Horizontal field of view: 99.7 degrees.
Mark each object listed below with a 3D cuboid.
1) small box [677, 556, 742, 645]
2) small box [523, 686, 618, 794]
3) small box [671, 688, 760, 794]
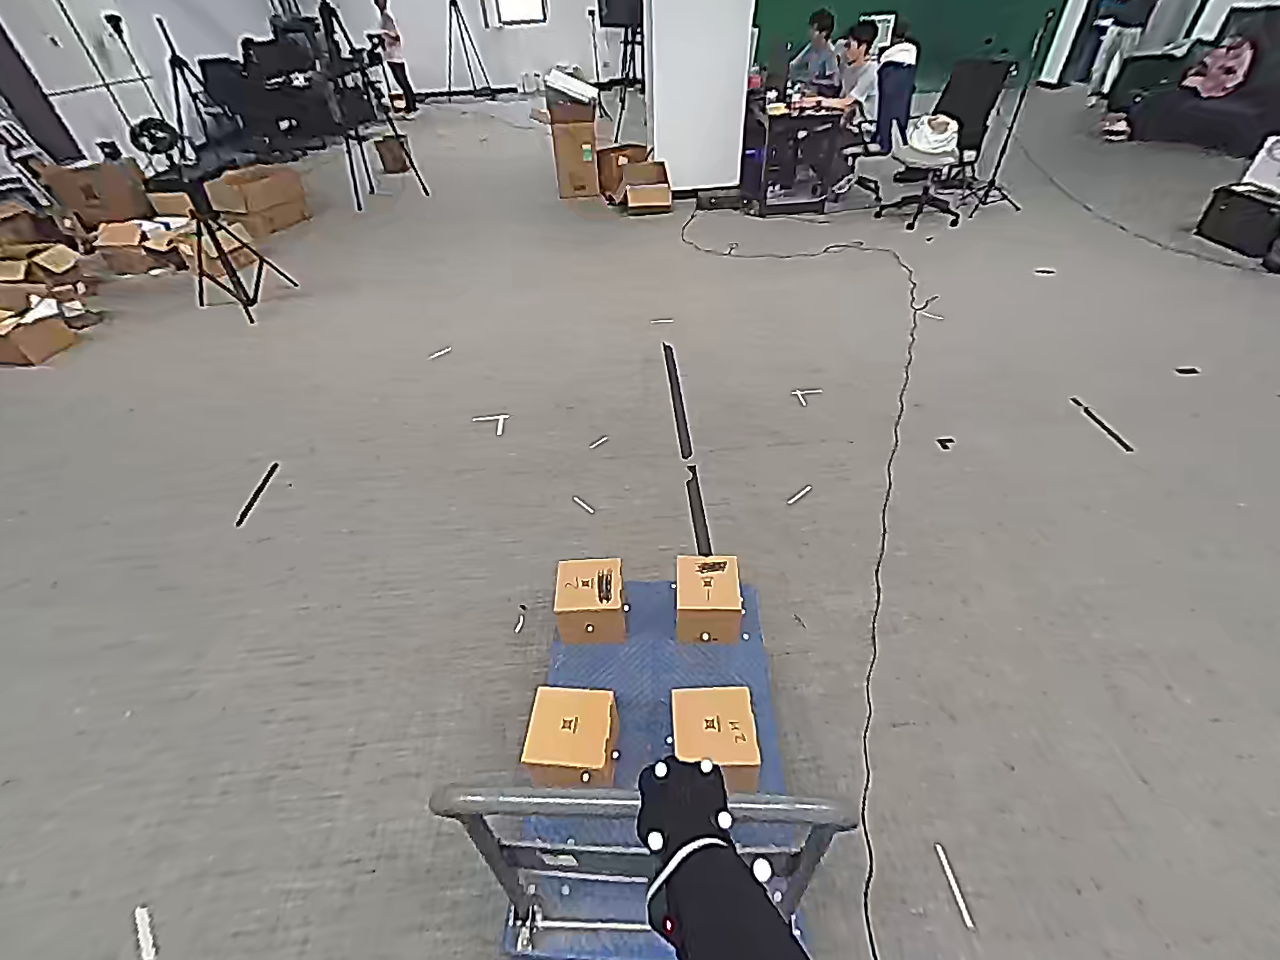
[{"bbox_3d":[0.185,0.329,1.480,0.168,0.176,0.179,0,43,4],"label":"small box"},{"bbox_3d":[-0.148,0.587,1.217,0.179,0.176,0.168,2,42,4],"label":"small box"},{"bbox_3d":[0.162,0.581,1.202,0.179,0.176,0.168,-2,42,2],"label":"small box"}]
